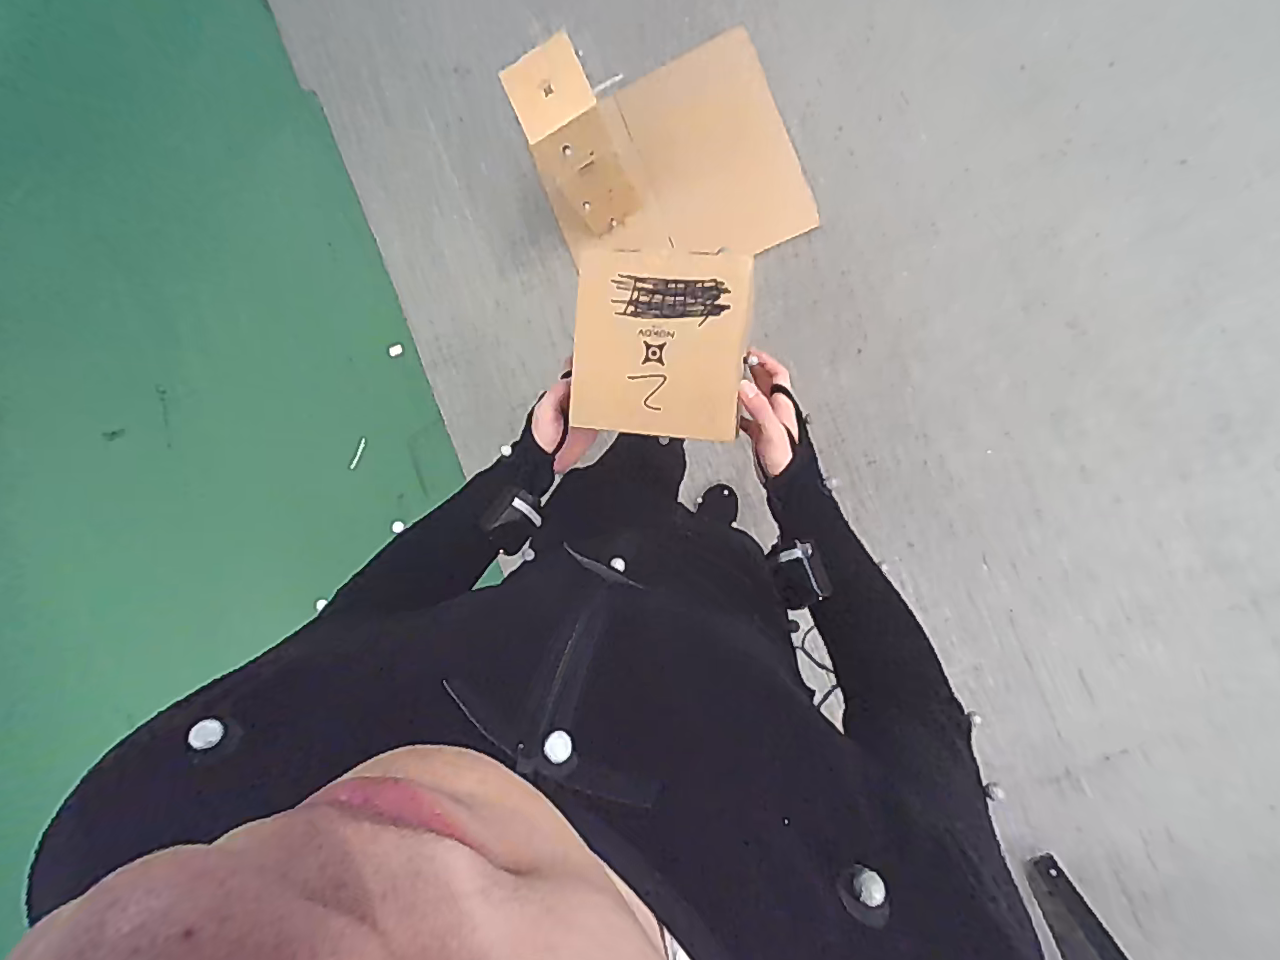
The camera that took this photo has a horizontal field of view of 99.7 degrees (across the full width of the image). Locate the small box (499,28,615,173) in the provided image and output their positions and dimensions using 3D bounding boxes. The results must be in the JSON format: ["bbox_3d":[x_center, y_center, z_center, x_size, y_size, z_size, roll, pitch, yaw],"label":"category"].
[{"bbox_3d":[-0.174,-0.818,1.194,0.168,0.176,0.179,-25,87,12],"label":"small box"}]

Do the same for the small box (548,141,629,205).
[{"bbox_3d":[-0.145,-0.823,1.353,0.168,0.176,0.179,-25,87,12],"label":"small box"}]

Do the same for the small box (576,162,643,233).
[{"bbox_3d":[-0.112,-0.833,1.513,0.168,0.176,0.179,-29,88,12],"label":"small box"}]
